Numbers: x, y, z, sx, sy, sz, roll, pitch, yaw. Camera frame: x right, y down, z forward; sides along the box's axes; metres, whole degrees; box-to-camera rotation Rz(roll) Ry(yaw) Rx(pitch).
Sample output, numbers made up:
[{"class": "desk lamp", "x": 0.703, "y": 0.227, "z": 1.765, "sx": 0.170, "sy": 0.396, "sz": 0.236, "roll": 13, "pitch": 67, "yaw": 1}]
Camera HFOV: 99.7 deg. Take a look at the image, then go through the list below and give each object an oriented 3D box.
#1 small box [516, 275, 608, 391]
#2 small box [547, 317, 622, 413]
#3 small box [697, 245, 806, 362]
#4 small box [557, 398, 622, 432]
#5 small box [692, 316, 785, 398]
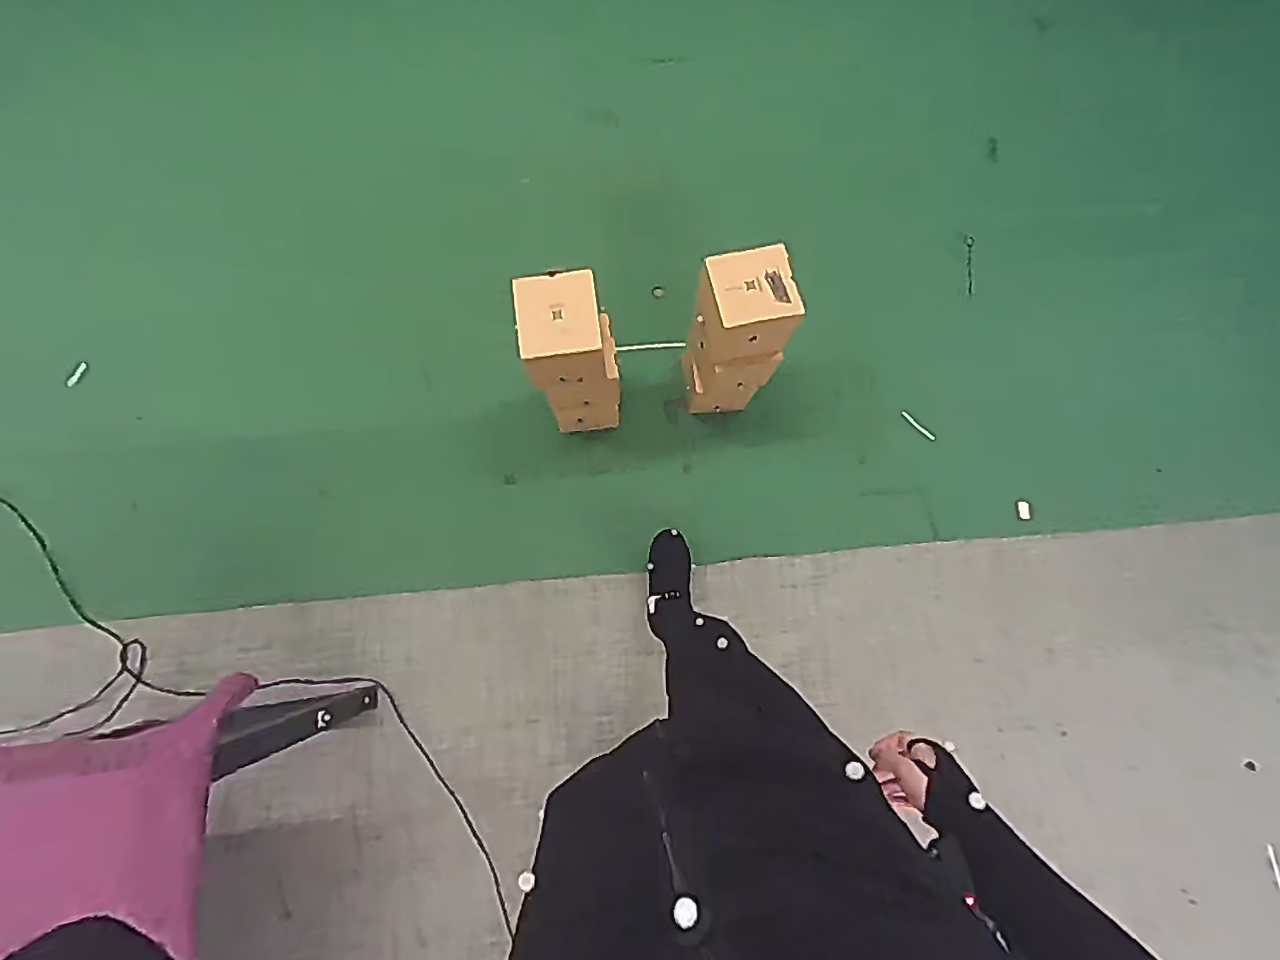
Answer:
[{"class": "small box", "x": -0.163, "y": -0.309, "z": 1.161, "sx": 0.168, "sy": 0.176, "sz": 0.179, "roll": -8, "pitch": 78, "yaw": -1}, {"class": "small box", "x": -0.142, "y": -0.275, "z": 1.321, "sx": 0.179, "sy": 0.176, "sz": 0.168, "roll": -9, "pitch": 77, "yaw": -3}, {"class": "small box", "x": 0.234, "y": -0.379, "z": 1.182, "sx": 0.179, "sy": 0.176, "sz": 0.168, "roll": -12, "pitch": 78, "yaw": -3}, {"class": "small box", "x": -0.141, "y": -0.238, "z": 1.481, "sx": 0.168, "sy": 0.176, "sz": 0.179, "roll": -7, "pitch": 77, "yaw": -2}, {"class": "small box", "x": 0.235, "y": -0.326, "z": 1.340, "sx": 0.168, "sy": 0.176, "sz": 0.179, "roll": -14, "pitch": 79, "yaw": -4}]
